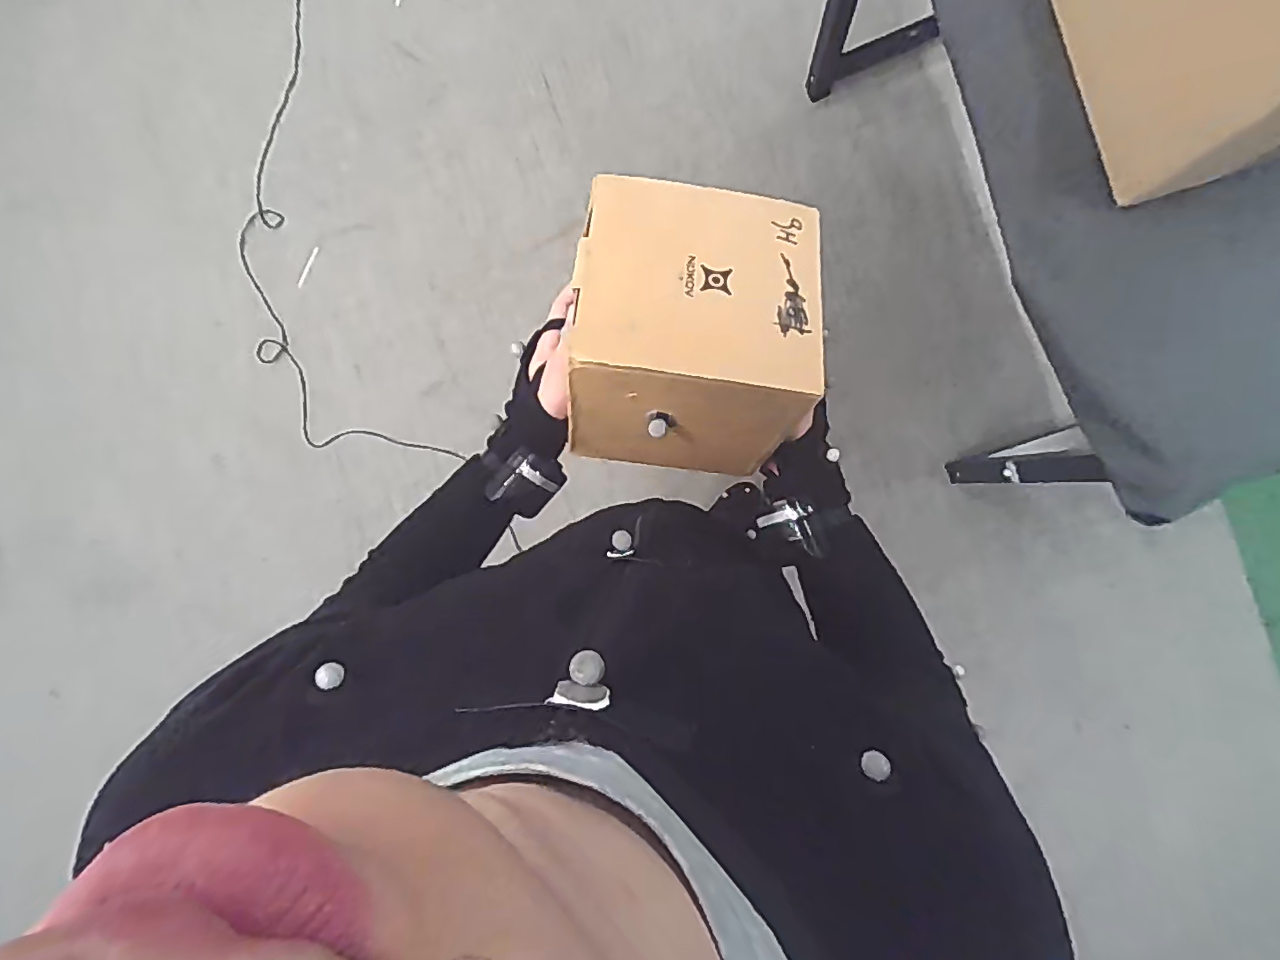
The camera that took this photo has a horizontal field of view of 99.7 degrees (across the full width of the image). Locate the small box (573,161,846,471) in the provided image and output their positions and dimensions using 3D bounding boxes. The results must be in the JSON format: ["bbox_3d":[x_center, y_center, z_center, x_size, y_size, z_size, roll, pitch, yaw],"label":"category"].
[{"bbox_3d":[0.043,-0.116,0.438,0.179,0.176,0.168,6,69,-4],"label":"small box"}]
